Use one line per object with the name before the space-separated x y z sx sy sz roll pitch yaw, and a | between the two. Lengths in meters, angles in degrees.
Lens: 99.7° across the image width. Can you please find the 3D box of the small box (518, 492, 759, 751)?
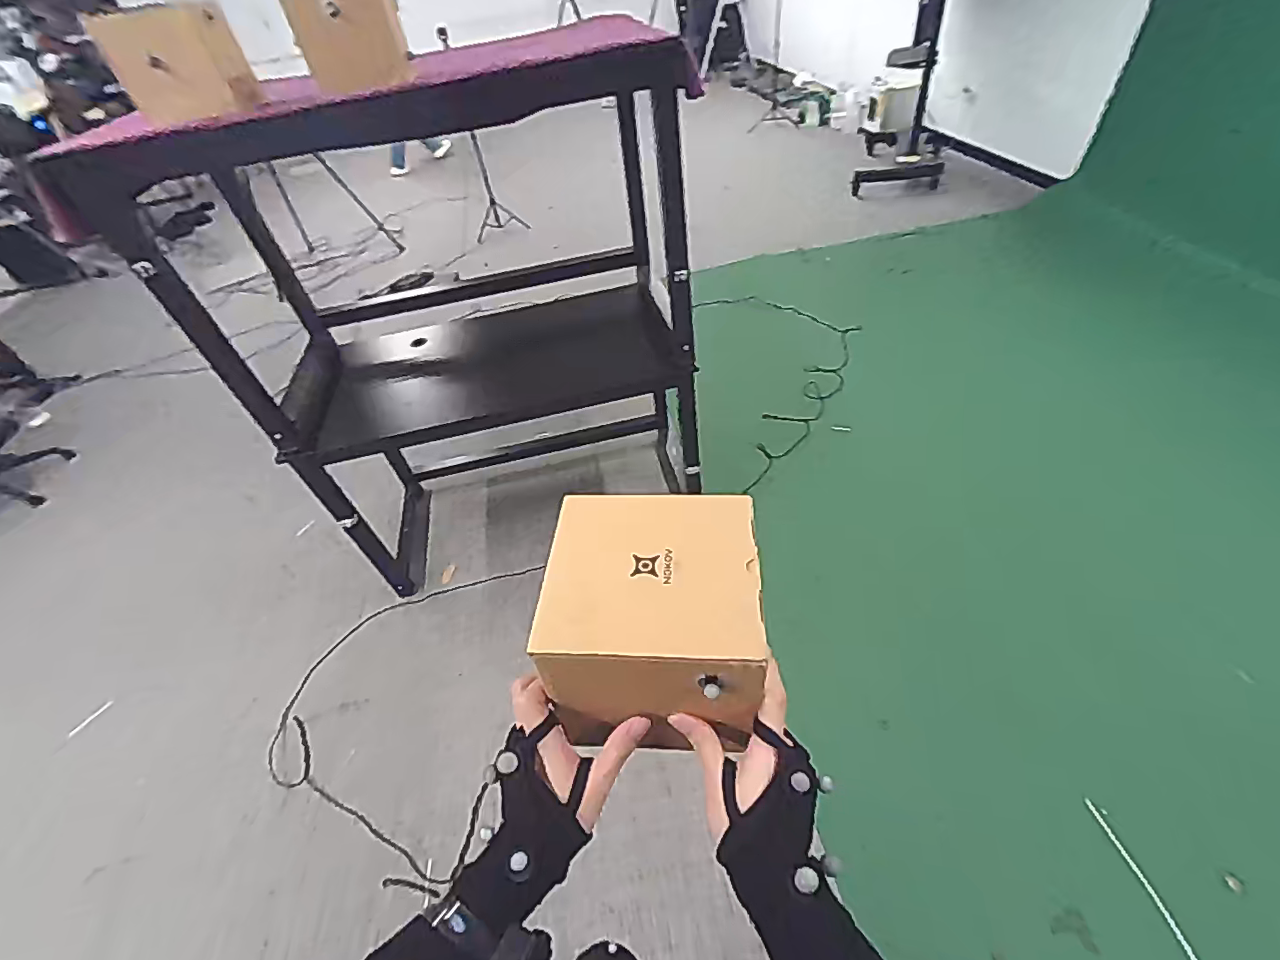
small box | 0.009 0.127 0.490 0.179 0.176 0.168 0 42 6

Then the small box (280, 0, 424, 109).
small box | -0.547 -0.846 1.055 0.179 0.176 0.168 -13 44 -4

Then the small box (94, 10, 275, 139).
small box | -0.855 -0.777 1.038 0.179 0.176 0.168 -15 44 -4
